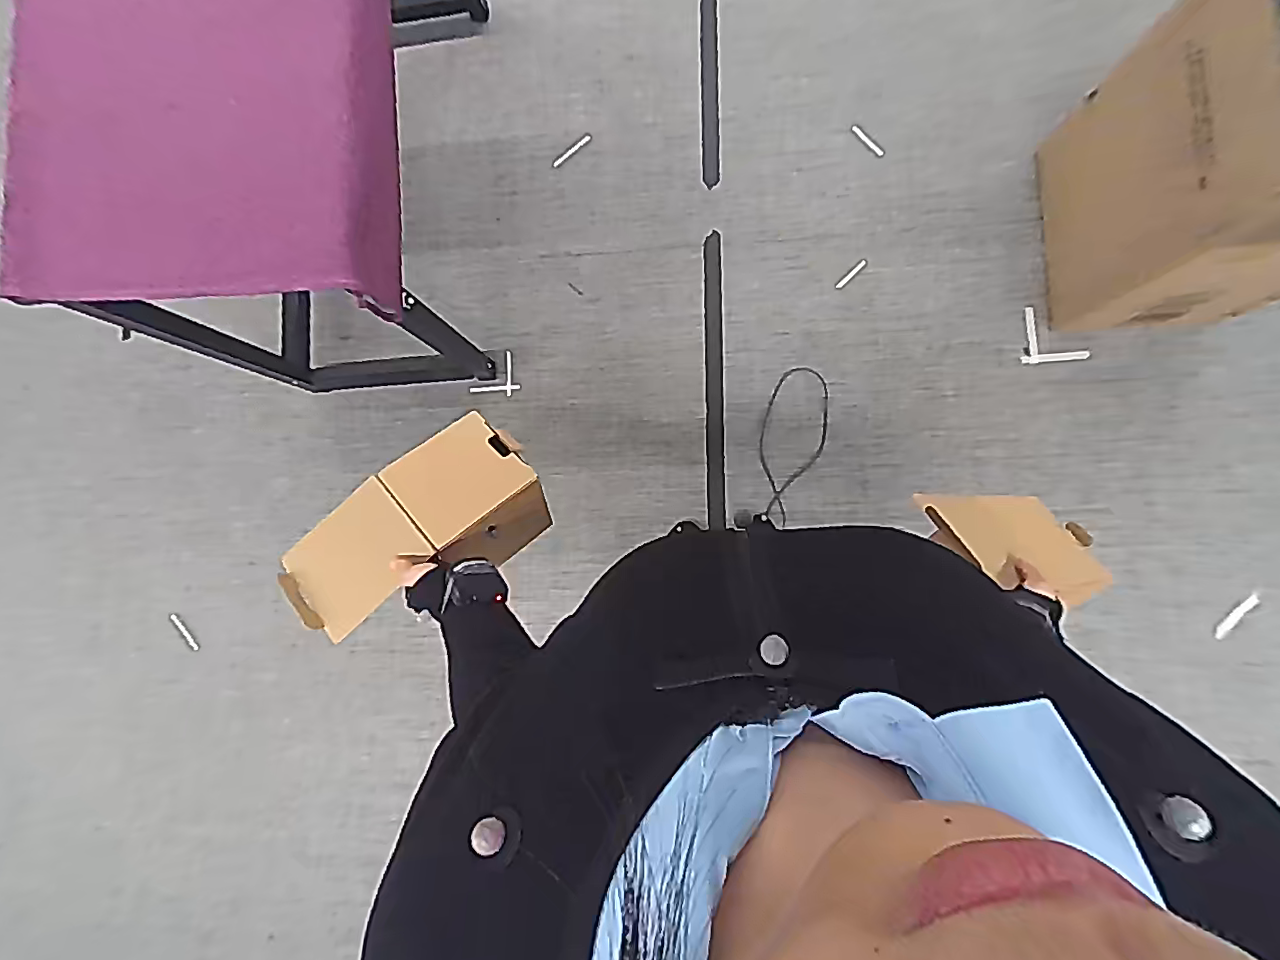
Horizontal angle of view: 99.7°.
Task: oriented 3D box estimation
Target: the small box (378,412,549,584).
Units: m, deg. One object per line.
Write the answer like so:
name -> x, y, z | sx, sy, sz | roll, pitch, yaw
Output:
small box -> -0.264, 0.034, 0.851 | 0.179, 0.176, 0.168 | -39, 68, -20
